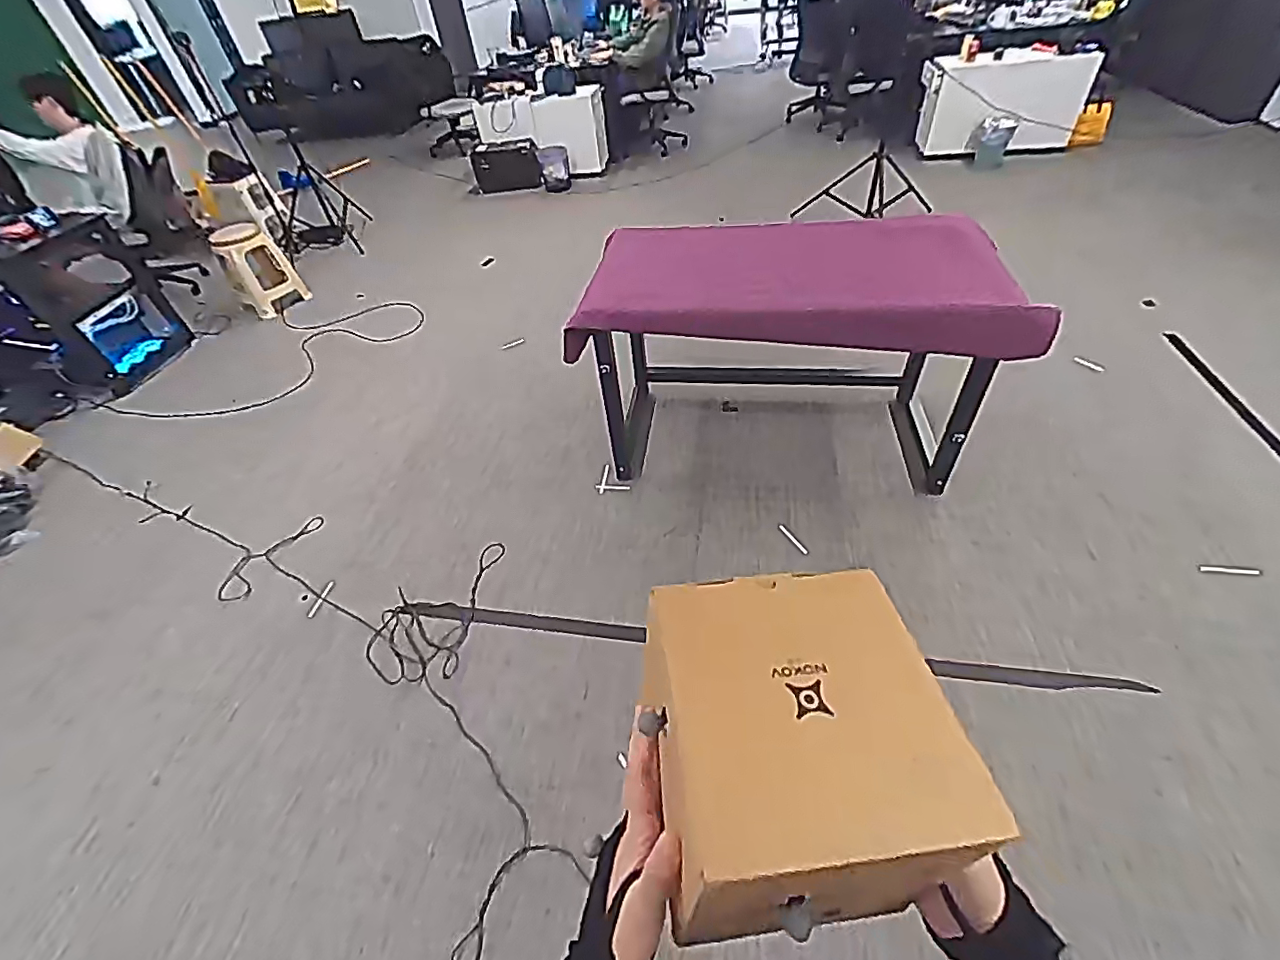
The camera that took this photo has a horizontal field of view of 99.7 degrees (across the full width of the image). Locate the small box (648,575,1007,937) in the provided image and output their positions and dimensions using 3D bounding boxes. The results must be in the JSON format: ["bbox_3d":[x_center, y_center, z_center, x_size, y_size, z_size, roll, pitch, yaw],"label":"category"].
[{"bbox_3d":[0.098,0.193,0.383,0.168,0.176,0.179,-4,40,-7],"label":"small box"}]
